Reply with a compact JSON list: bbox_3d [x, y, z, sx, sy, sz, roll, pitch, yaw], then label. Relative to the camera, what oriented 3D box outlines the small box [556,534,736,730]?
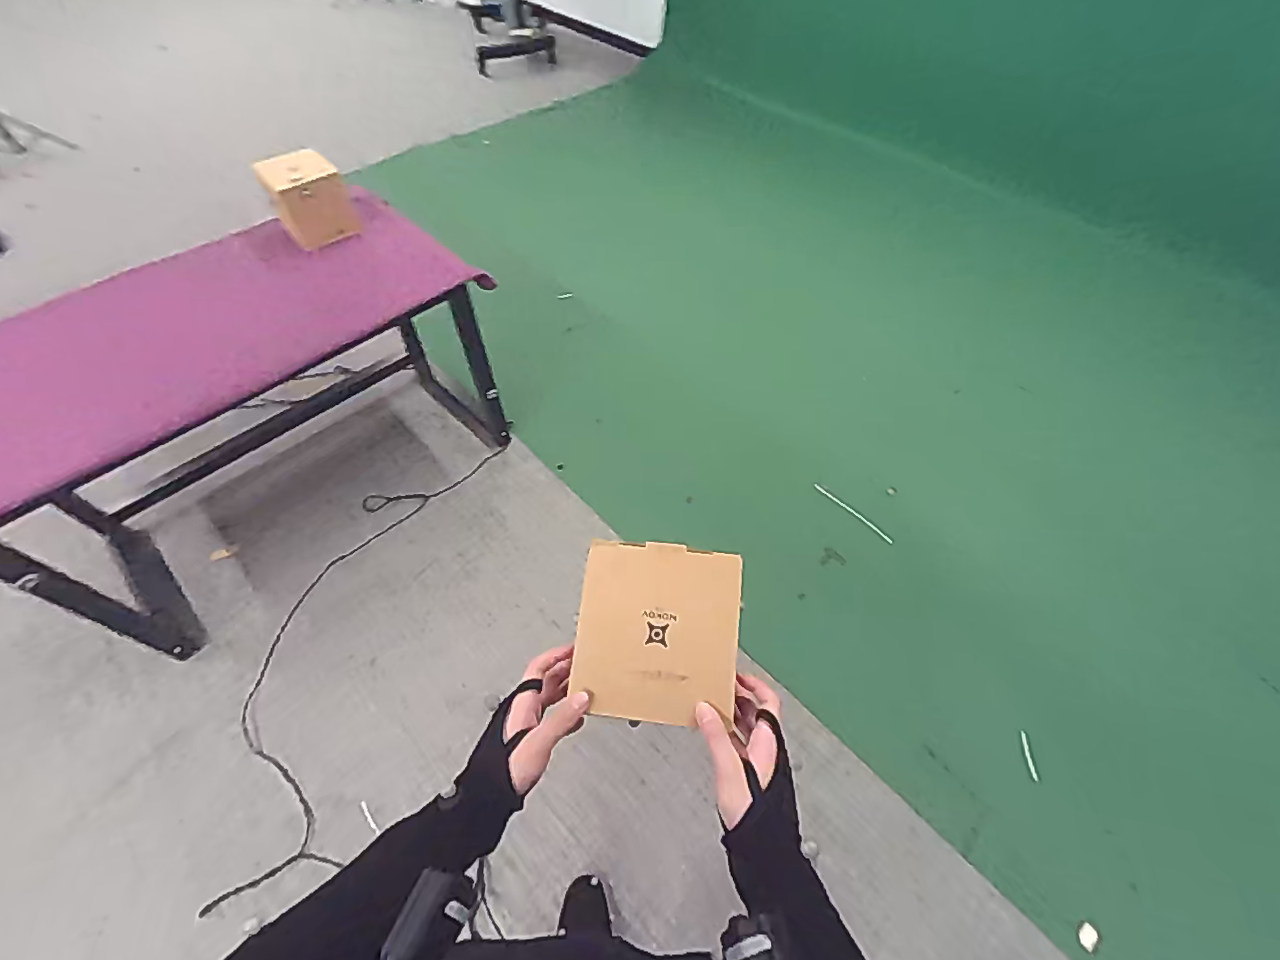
[{"bbox_3d":[0.011,0.175,0.621,0.168,0.176,0.179,7,70,4],"label":"small box"}]

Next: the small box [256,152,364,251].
[{"bbox_3d":[-0.898,-0.761,1.484,0.168,0.176,0.179,-36,63,-23],"label":"small box"}]
